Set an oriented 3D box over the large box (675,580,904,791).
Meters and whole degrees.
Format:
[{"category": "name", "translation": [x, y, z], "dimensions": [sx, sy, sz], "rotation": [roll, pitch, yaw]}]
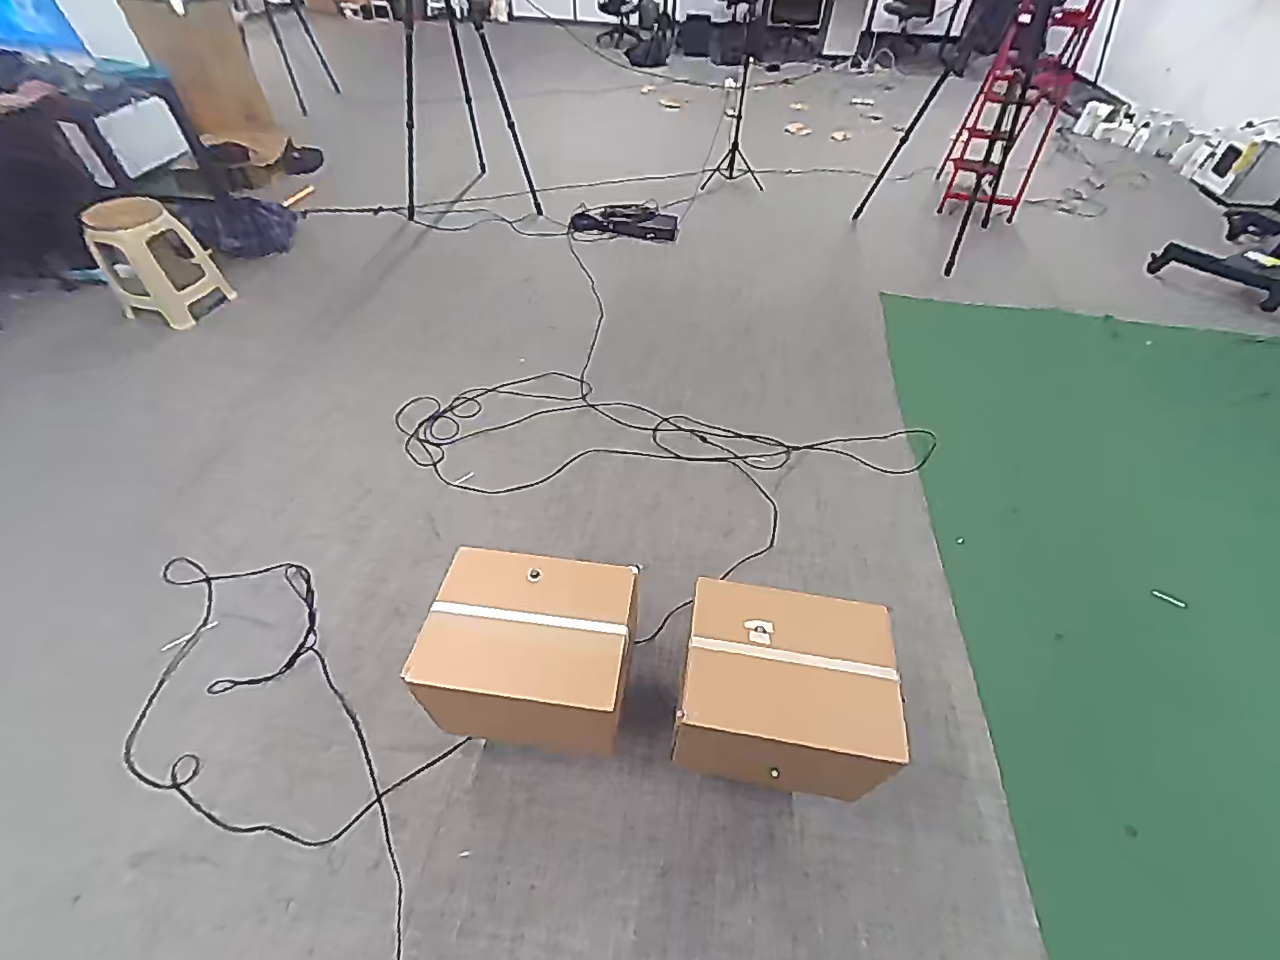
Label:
[{"category": "large box", "translation": [0.300, 0.453, 1.188], "dimensions": [0.408, 0.320, 0.320], "rotation": [8, 49, 6]}]
